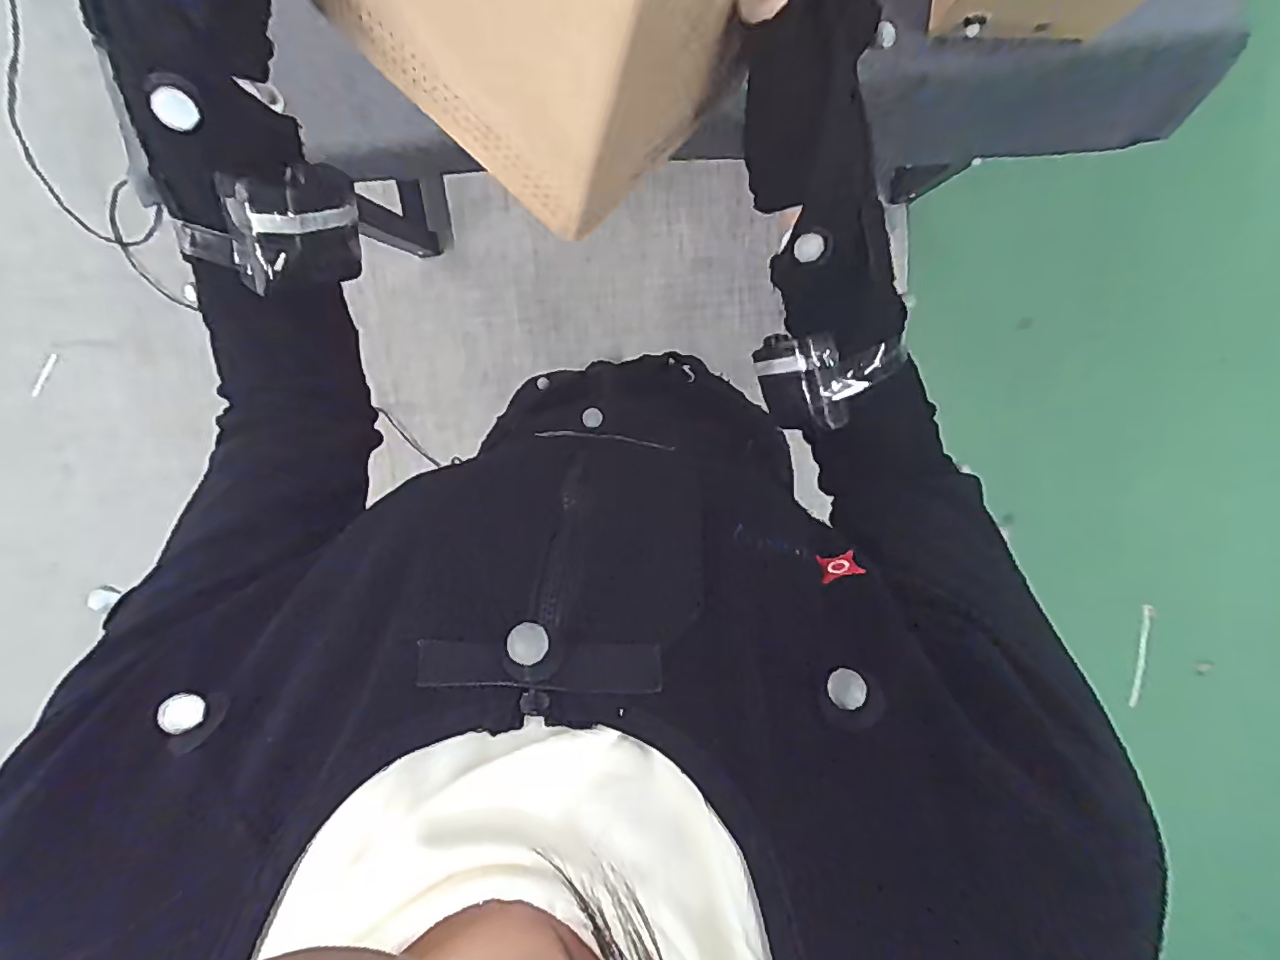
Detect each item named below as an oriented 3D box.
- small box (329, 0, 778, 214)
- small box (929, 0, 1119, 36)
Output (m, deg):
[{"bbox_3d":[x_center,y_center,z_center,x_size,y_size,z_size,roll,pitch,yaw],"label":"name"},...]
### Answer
[{"bbox_3d":[-0.028,-0.259,0.224,0.179,0.176,0.168,39,71,-6],"label":"small box"},{"bbox_3d":[0.379,-0.530,0.471,0.168,0.176,0.179,3,102,2],"label":"small box"}]
